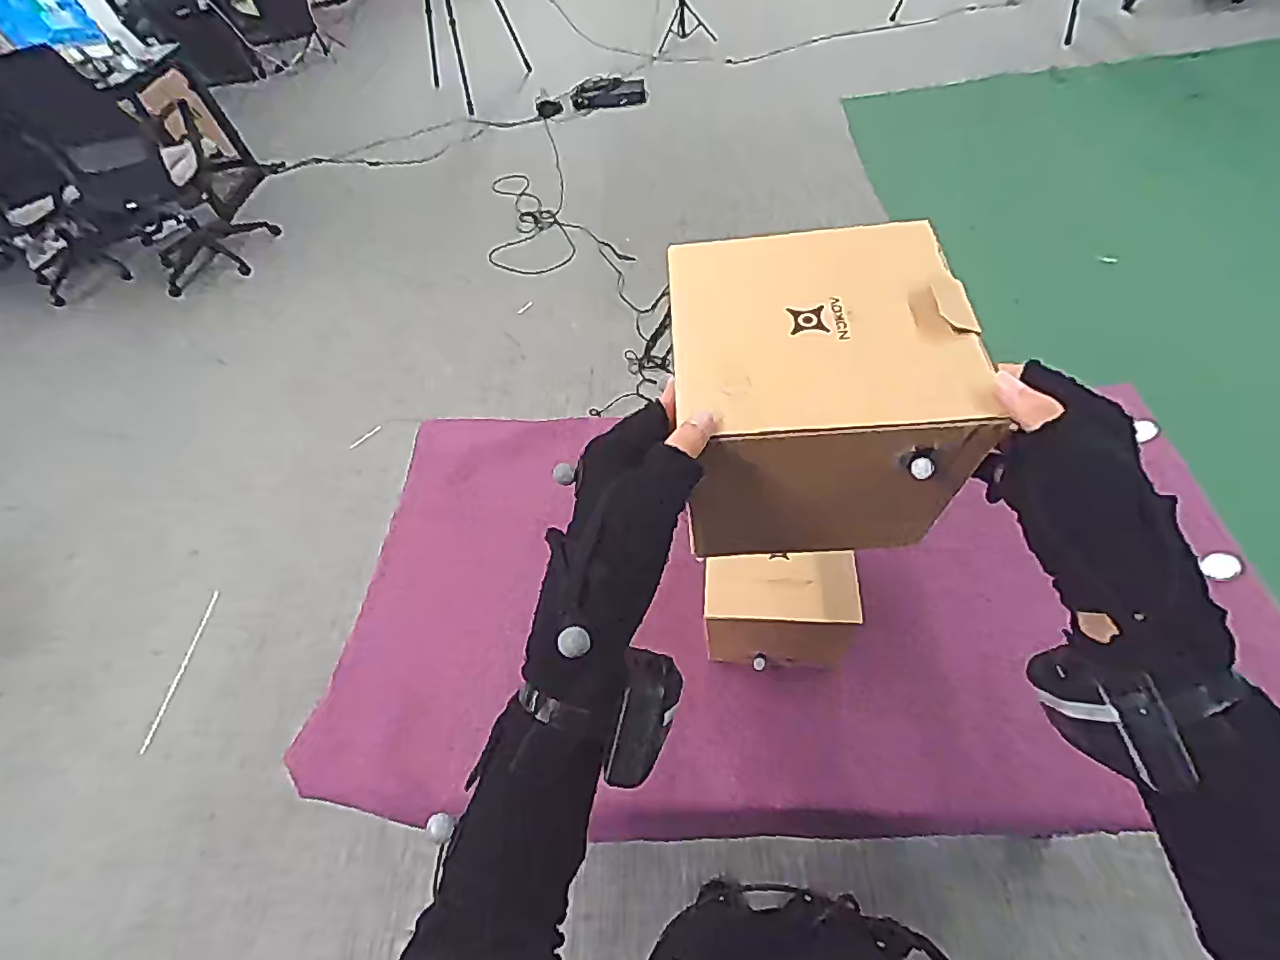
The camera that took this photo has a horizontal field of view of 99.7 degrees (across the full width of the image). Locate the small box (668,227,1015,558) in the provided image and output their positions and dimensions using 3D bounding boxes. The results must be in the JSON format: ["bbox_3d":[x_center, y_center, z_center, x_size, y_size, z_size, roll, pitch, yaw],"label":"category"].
[{"bbox_3d":[0.114,-0.051,0.390,0.179,0.176,0.168,-3,59,4],"label":"small box"}]

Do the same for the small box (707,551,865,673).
[{"bbox_3d":[0.172,0.126,0.679,0.168,0.176,0.179,0,55,11],"label":"small box"}]
